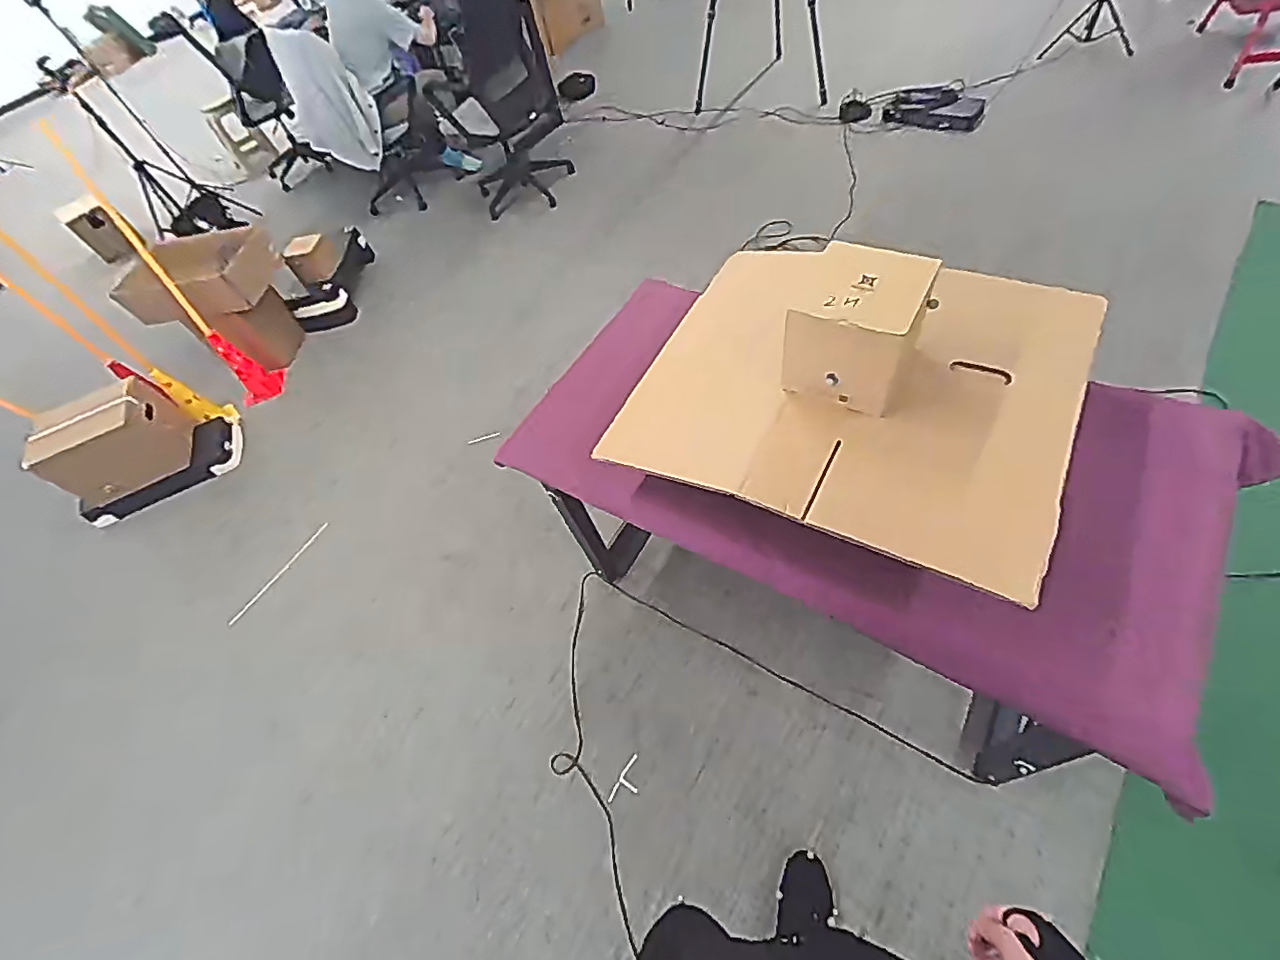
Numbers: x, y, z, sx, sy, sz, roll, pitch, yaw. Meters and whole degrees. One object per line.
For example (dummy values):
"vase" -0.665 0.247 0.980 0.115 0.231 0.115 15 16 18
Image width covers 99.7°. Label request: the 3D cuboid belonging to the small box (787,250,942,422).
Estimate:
"small box" 0.339 -0.223 0.846 0.168 0.176 0.179 23 64 24
